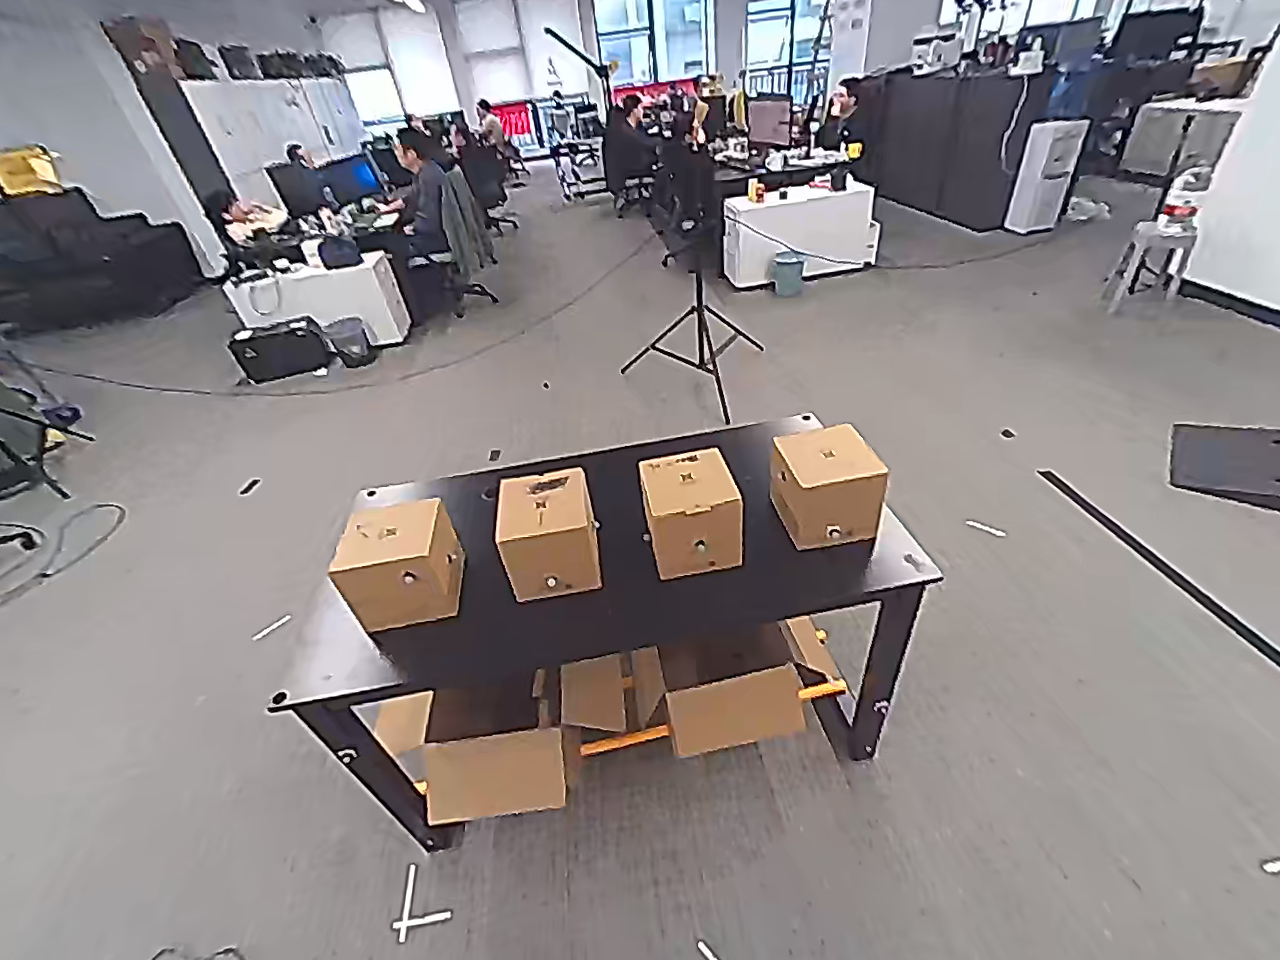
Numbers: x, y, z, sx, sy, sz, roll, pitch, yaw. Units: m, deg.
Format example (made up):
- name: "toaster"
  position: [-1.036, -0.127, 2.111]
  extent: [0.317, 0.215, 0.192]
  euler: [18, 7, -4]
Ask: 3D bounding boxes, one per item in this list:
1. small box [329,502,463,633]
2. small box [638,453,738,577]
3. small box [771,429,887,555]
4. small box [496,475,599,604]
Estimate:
- name: "small box"
  position: [-0.456, 0.170, 1.047]
  extent: [0.179, 0.176, 0.168]
  euler: [-10, 37, -4]
- name: "small box"
  position: [0.096, 0.075, 1.076]
  extent: [0.168, 0.176, 0.179]
  euler: [-10, 38, -3]
- name: "small box"
  position: [0.368, 0.023, 1.093]
  extent: [0.168, 0.176, 0.179]
  euler: [-11, 37, -1]
- name: "small box"
  position: [-0.177, 0.116, 1.070]
  extent: [0.168, 0.176, 0.179]
  euler: [-10, 38, -2]
